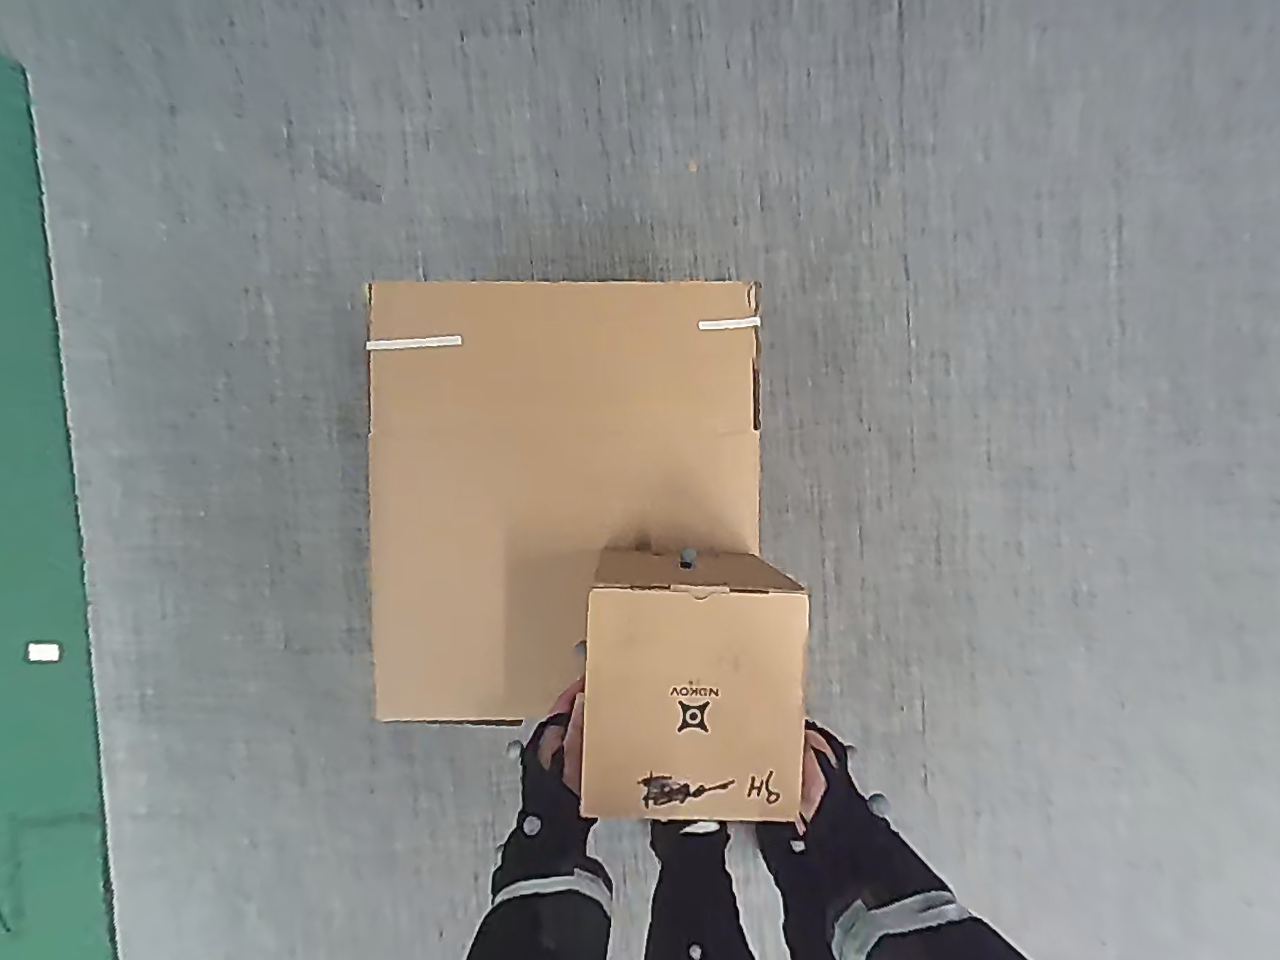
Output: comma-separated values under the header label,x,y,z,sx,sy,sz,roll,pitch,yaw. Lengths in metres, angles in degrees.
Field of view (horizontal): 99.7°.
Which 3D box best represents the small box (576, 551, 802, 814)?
label,x,y,z,sx,sy,sz,roll,pitch,yaw
small box,0.034,0.160,0.482,0.168,0.176,0.179,2,90,-2
